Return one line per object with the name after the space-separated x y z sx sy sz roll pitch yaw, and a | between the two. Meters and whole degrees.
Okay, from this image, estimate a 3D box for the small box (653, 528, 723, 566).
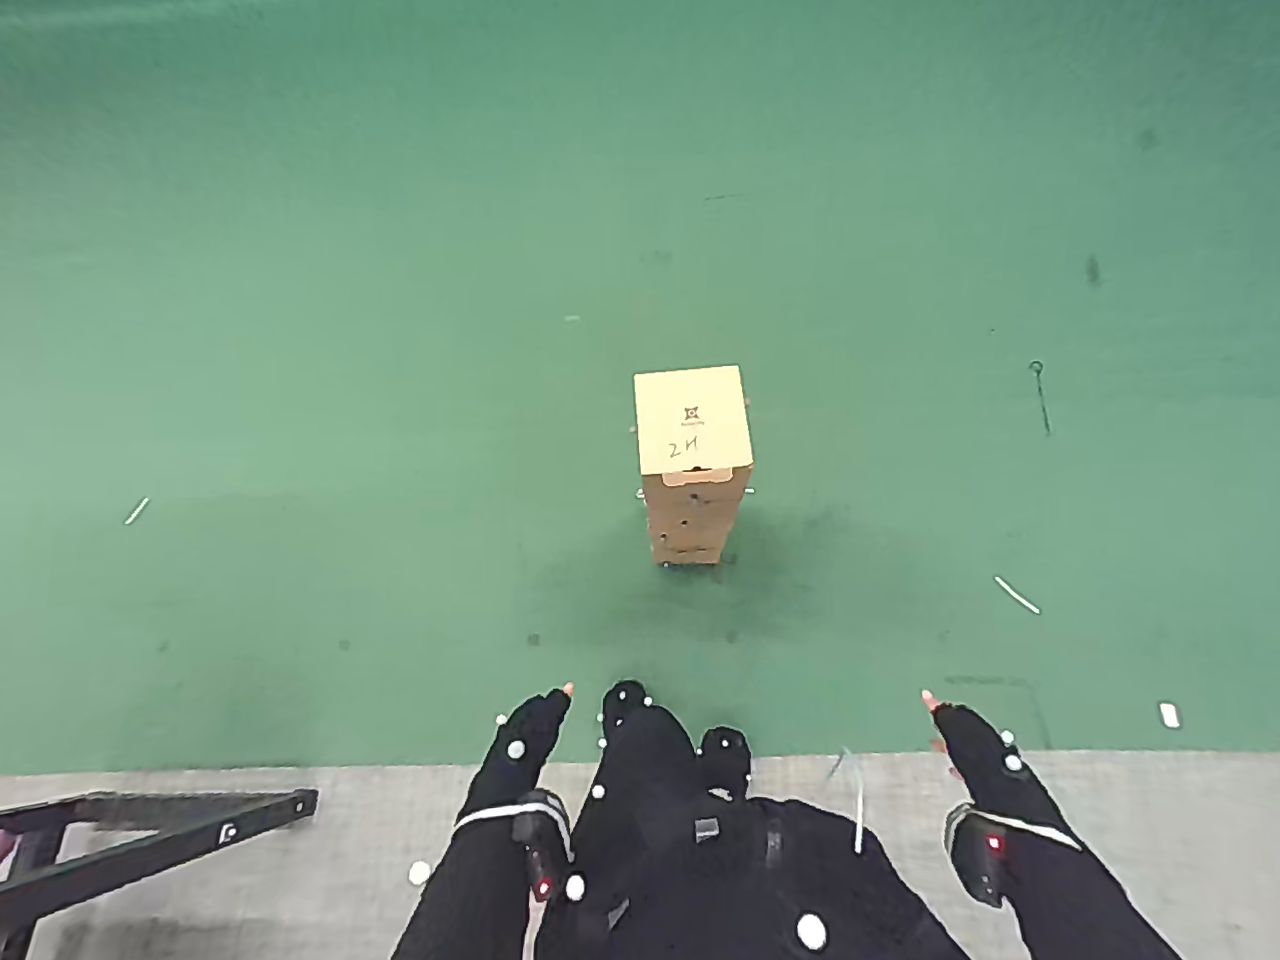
0.120 0.116 1.355 0.168 0.176 0.179 -1 69 4 | small box

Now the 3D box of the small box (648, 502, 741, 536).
0.098 0.000 1.049 0.168 0.176 0.179 -3 69 3 | small box

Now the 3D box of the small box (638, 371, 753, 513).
0.086 -0.056 0.895 0.168 0.176 0.179 -5 70 3 | small box
